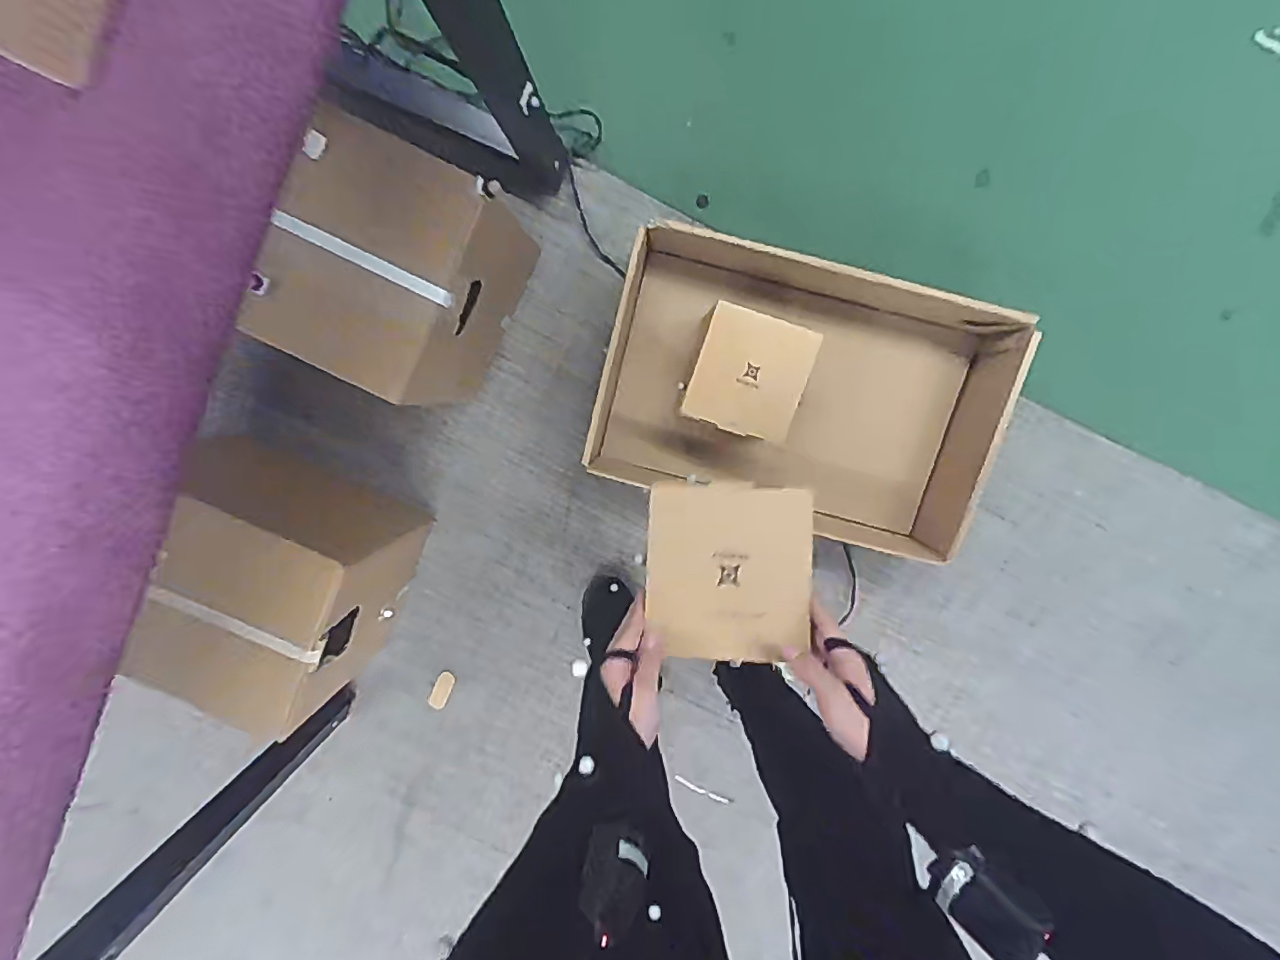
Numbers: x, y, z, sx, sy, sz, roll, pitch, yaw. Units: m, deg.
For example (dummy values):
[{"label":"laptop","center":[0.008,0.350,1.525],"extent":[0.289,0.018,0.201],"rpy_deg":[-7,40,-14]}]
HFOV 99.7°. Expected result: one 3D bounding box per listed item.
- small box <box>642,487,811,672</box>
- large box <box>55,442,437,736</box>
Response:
[{"label":"small box","center":[0.088,0.105,0.615],"extent":[0.168,0.176,0.179],"rpy_deg":[2,85,2]},{"label":"large box","center":[-0.642,0.158,0.947],"extent":[0.408,0.320,0.320],"rpy_deg":[24,98,0]}]
